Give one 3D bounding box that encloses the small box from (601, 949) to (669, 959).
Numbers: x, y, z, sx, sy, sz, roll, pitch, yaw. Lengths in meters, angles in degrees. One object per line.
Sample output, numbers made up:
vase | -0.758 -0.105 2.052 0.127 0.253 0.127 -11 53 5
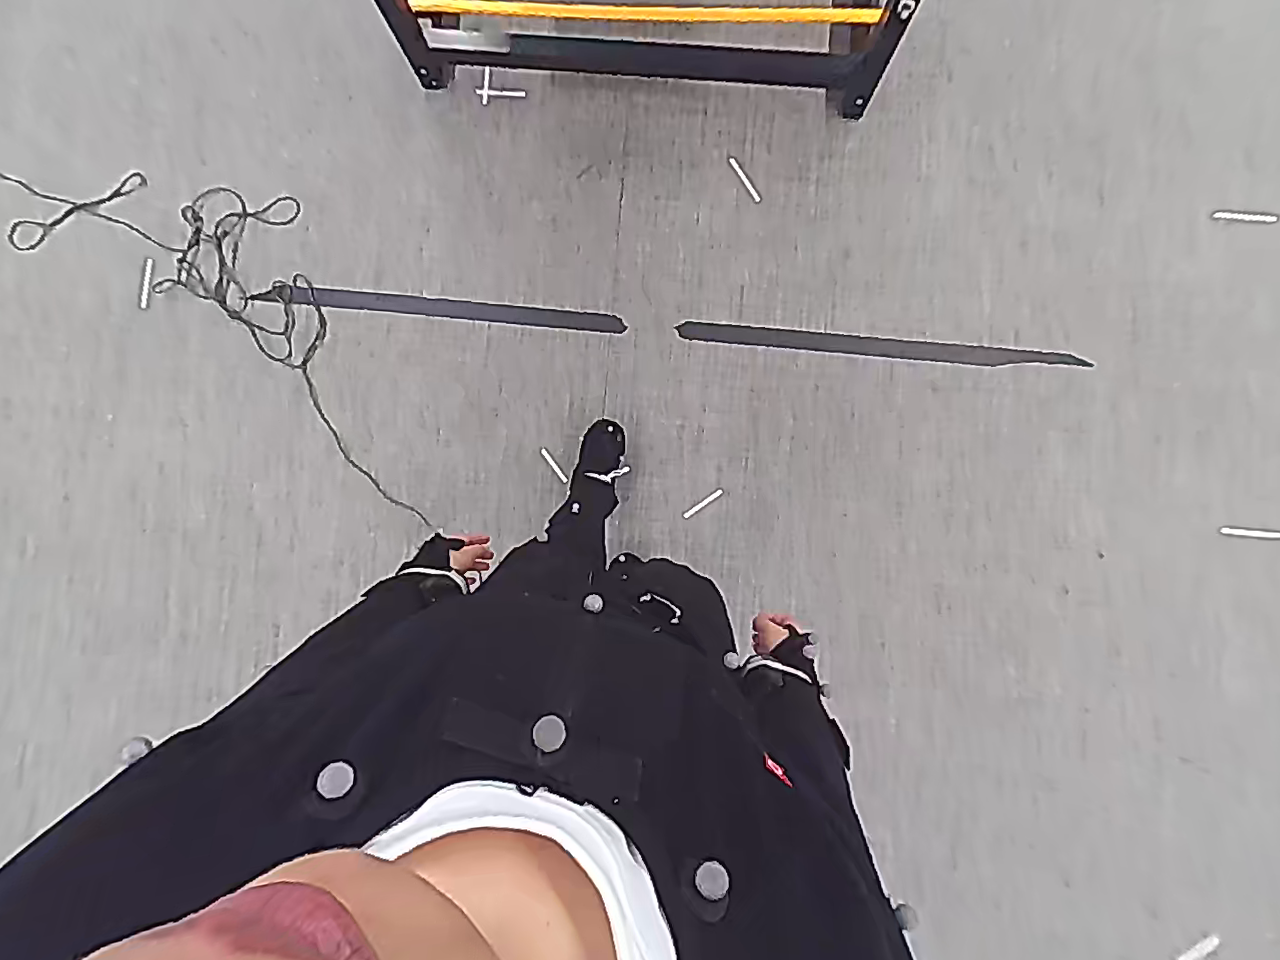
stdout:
small box | -0.022 1.244 1.257 0.179 0.176 0.168 5 87 1
